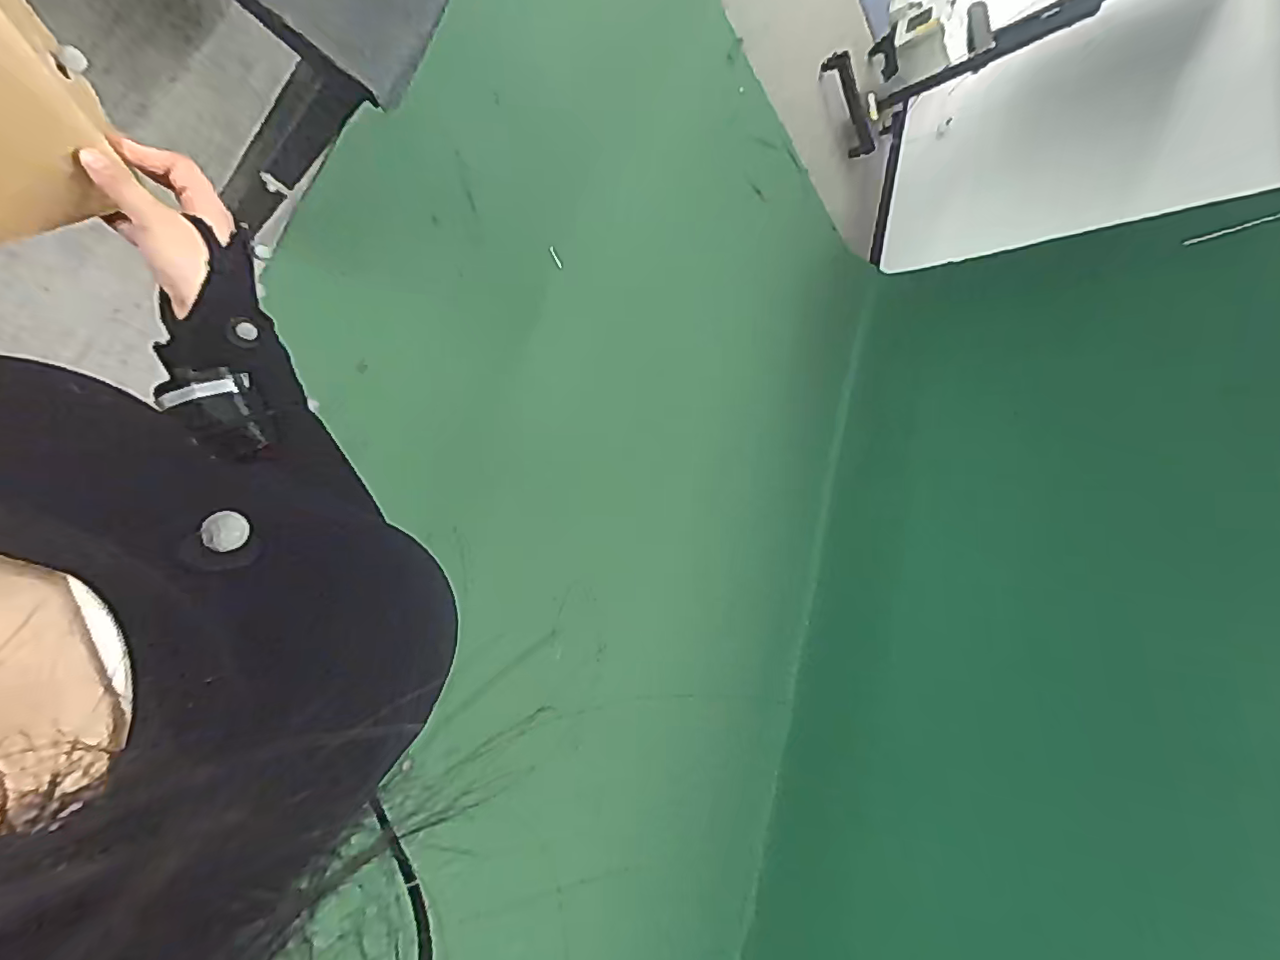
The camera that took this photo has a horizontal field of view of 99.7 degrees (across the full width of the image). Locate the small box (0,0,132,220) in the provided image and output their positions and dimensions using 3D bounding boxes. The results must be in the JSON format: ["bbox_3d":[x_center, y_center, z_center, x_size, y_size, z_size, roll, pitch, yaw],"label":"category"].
[{"bbox_3d":[-0.473,-0.271,0.315,0.179,0.168,0.176,-31,70,-18],"label":"small box"}]
